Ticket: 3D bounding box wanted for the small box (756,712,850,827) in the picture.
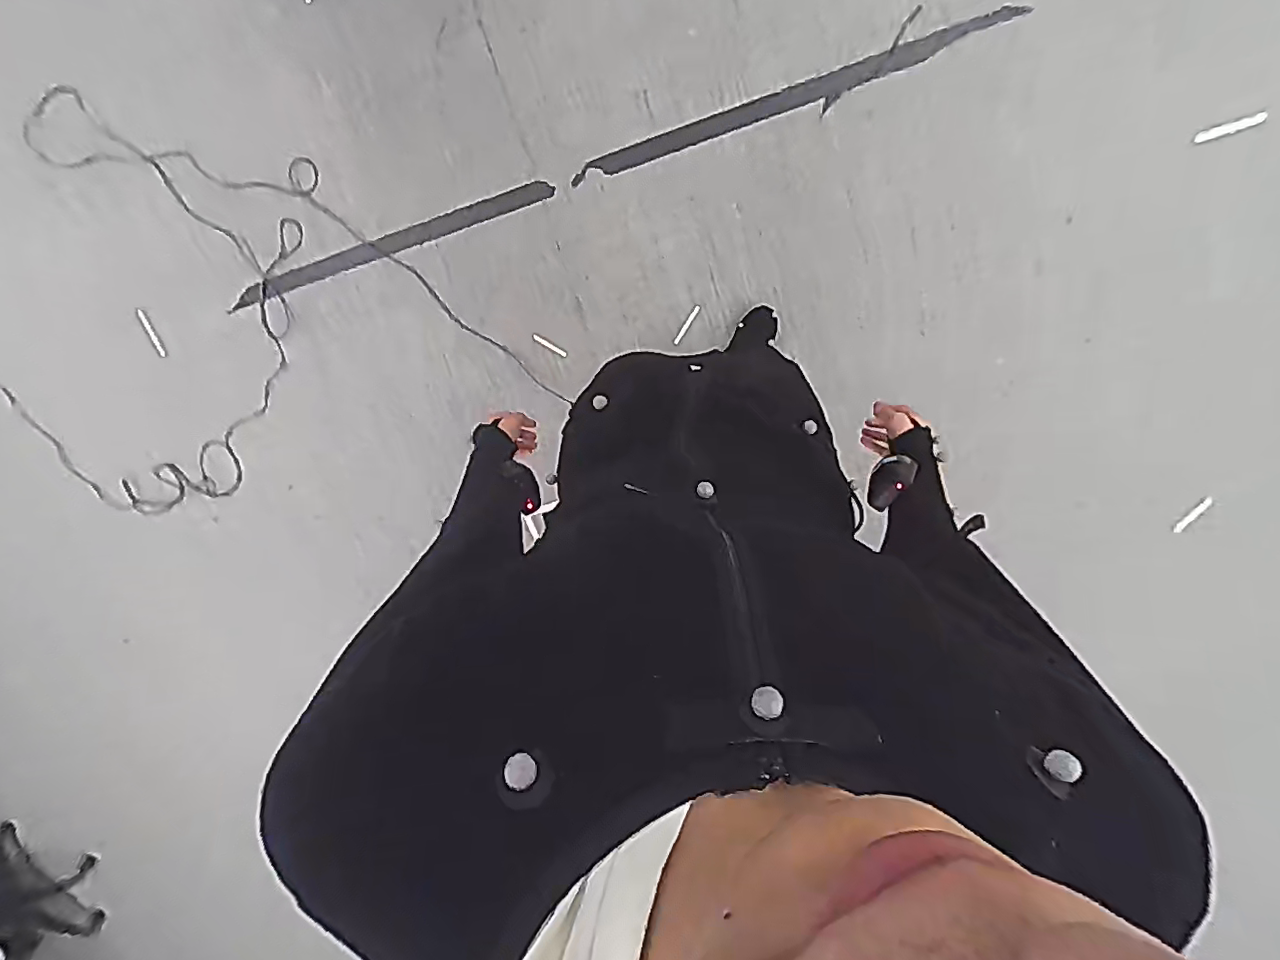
[{"bbox_3d":[0.400,0.723,1.361,0.179,0.176,0.168,-21,107,10],"label":"small box"}]
